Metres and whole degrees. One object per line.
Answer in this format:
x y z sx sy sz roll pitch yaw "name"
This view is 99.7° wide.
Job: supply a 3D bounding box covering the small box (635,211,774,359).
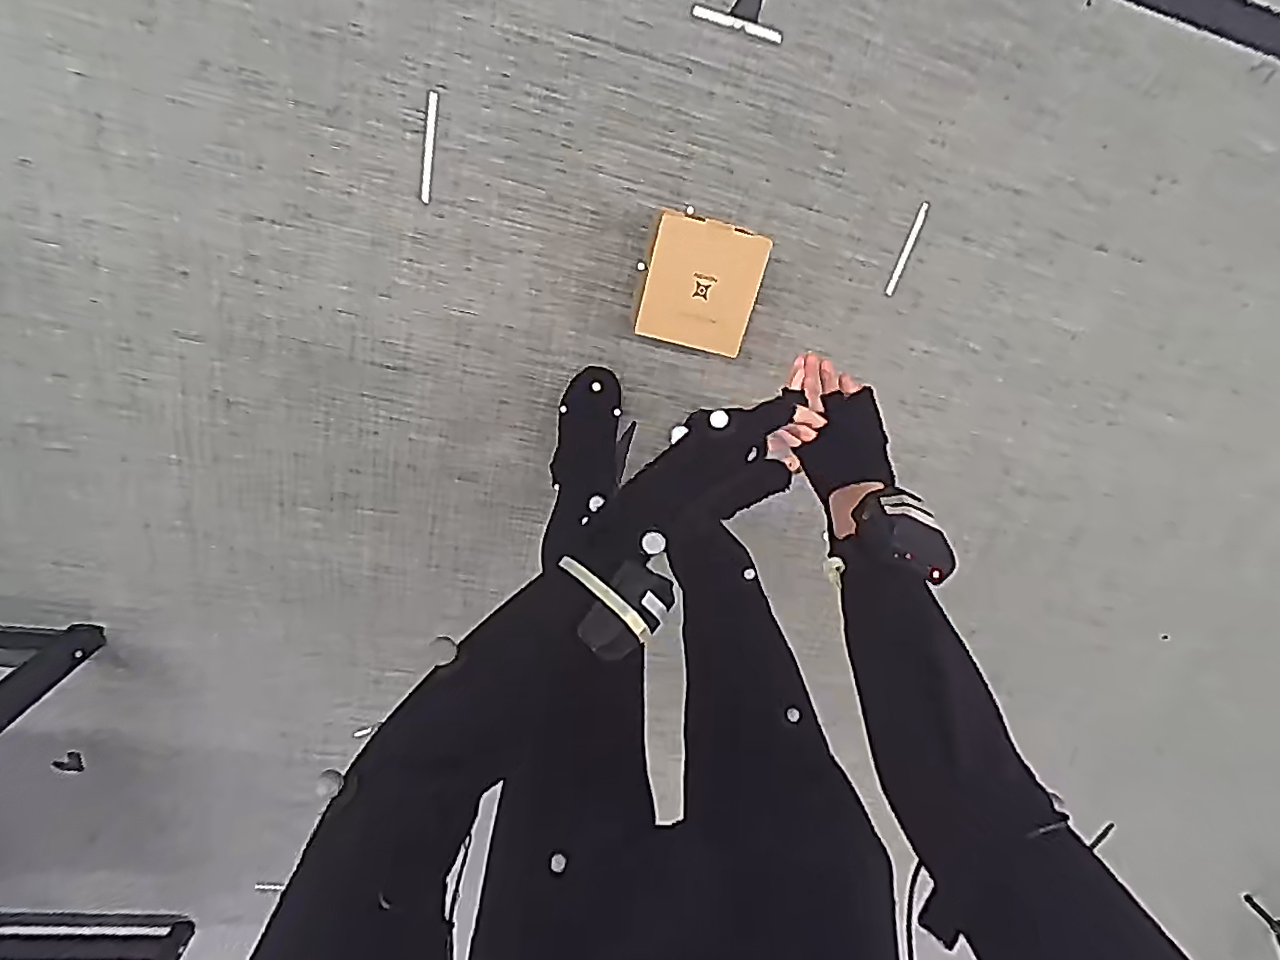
0.090 -0.314 0.865 0.168 0.176 0.179 12 115 -8 "small box"
